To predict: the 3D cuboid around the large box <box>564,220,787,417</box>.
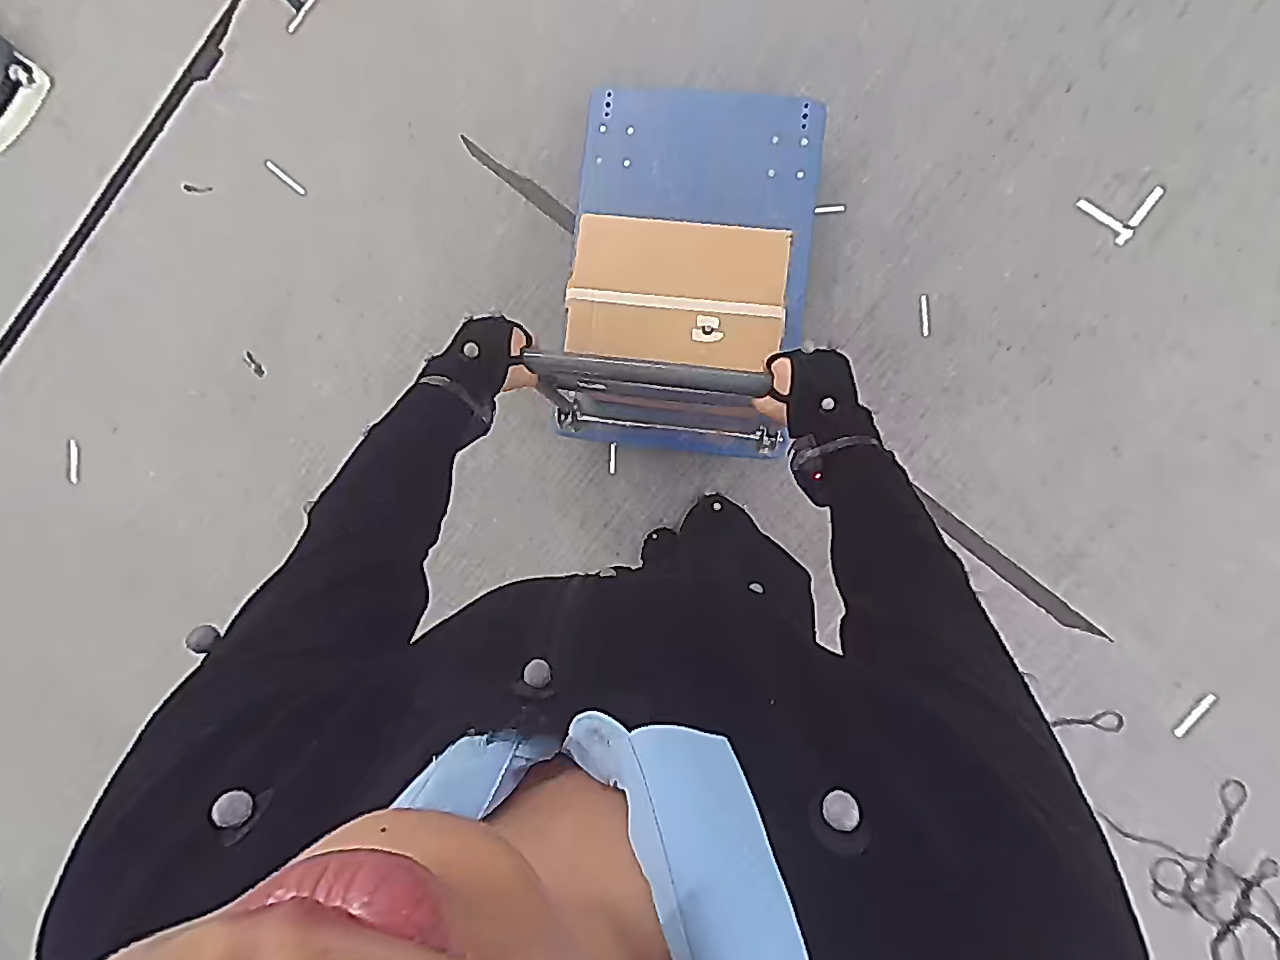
[{"bbox_3d":[0.071,-0.325,1.171,0.408,0.320,0.320,7,91,3],"label":"large box"}]
